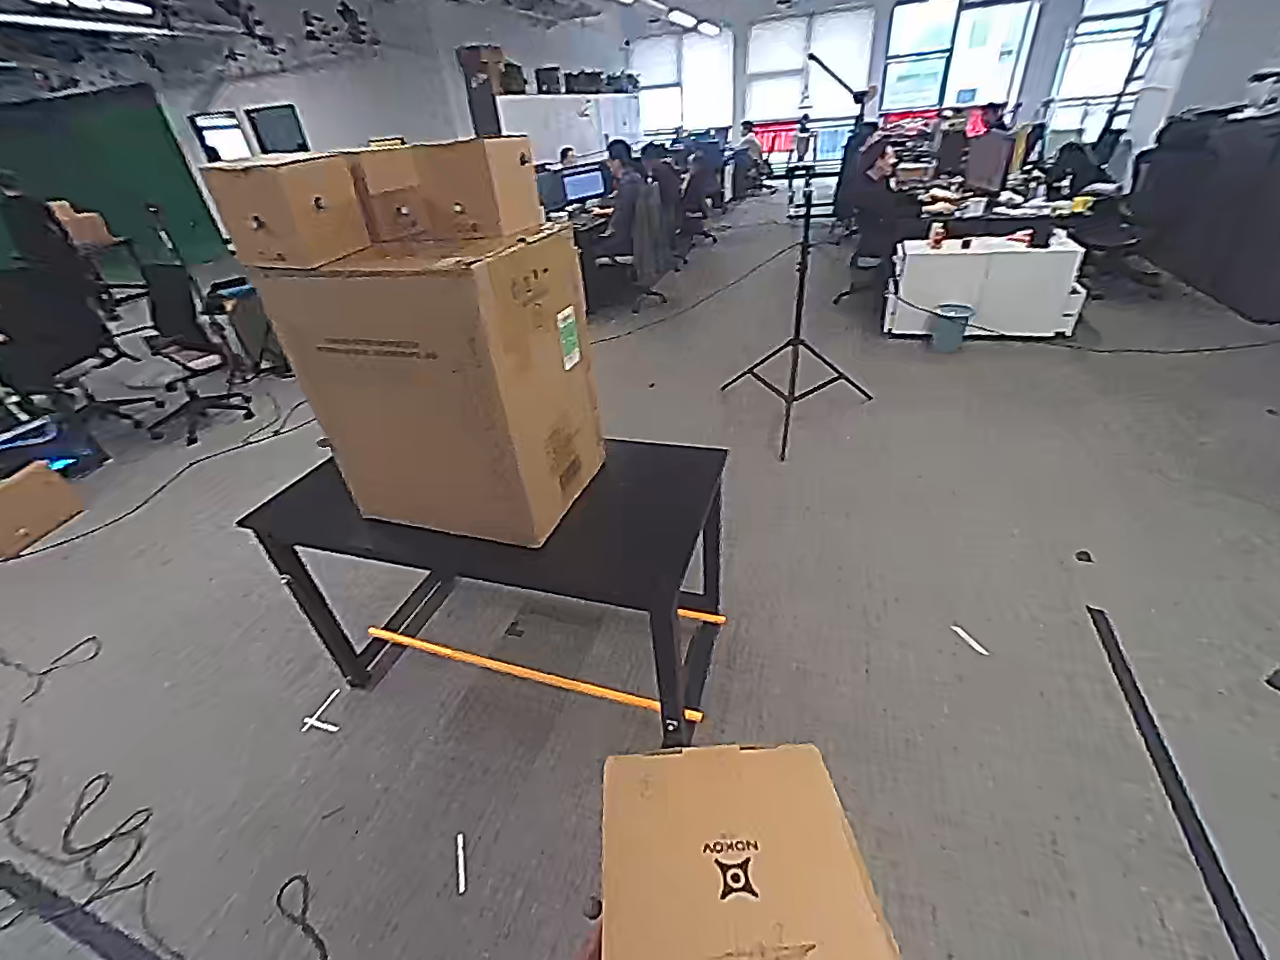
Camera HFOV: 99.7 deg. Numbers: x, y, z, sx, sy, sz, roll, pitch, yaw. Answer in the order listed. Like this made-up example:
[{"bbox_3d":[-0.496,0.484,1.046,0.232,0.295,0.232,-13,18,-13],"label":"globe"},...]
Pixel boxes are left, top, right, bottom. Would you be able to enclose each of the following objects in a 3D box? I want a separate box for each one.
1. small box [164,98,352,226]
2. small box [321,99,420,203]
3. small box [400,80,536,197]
[{"bbox_3d":[-0.642,-0.549,0.938,0.168,0.176,0.179,7,39,12],"label":"small box"},{"bbox_3d":[-0.584,-0.664,1.098,0.179,0.176,0.168,9,36,18],"label":"small box"},{"bbox_3d":[-0.309,-0.637,1.019,0.168,0.176,0.179,5,34,18],"label":"small box"}]
